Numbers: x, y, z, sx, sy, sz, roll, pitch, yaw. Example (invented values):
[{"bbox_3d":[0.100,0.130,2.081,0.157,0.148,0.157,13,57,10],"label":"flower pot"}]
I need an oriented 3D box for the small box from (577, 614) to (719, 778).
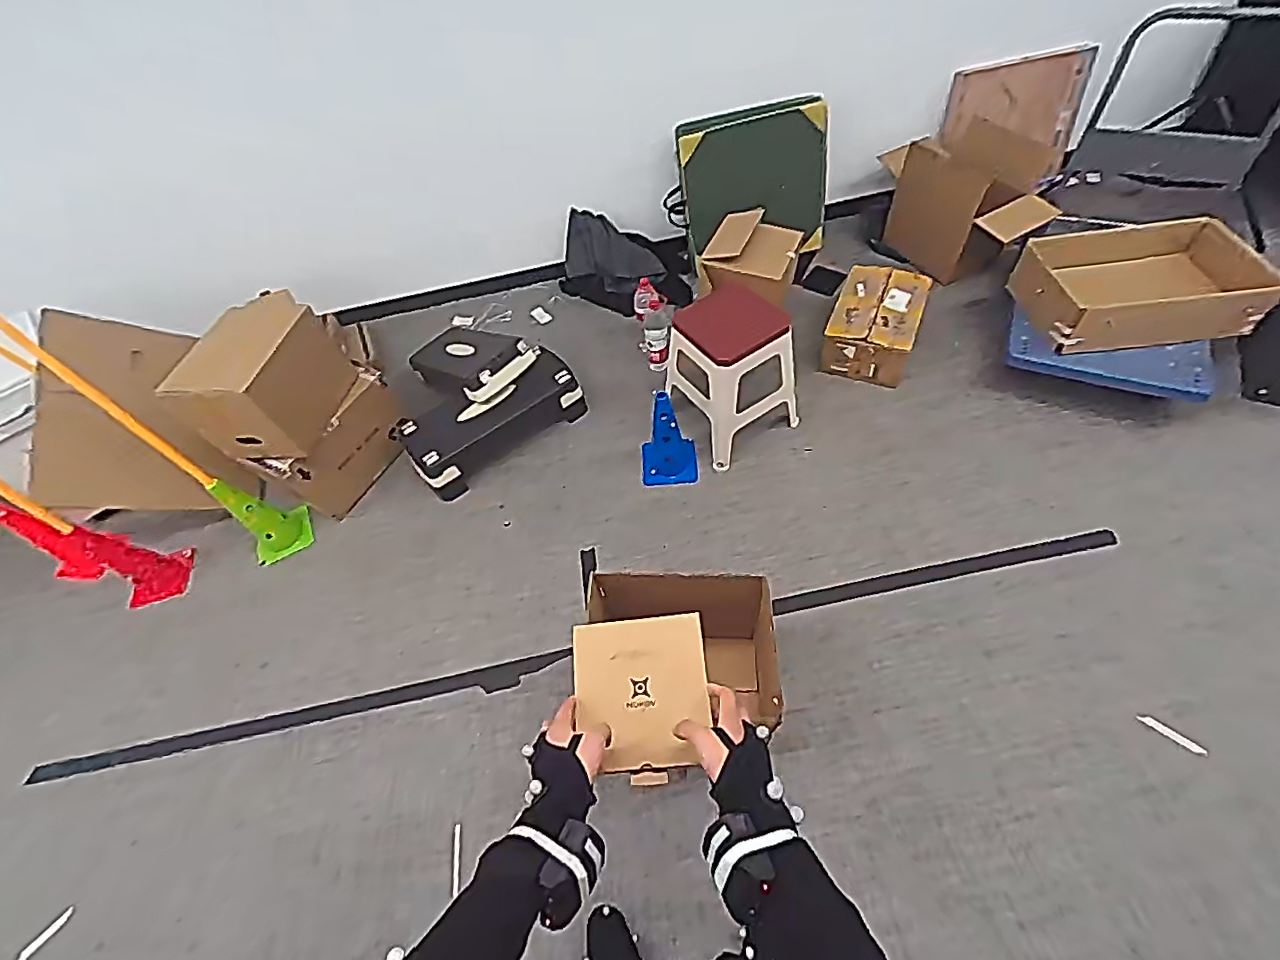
[{"bbox_3d":[0.015,0.286,0.723,0.168,0.176,0.179,-7,65,4],"label":"small box"}]
